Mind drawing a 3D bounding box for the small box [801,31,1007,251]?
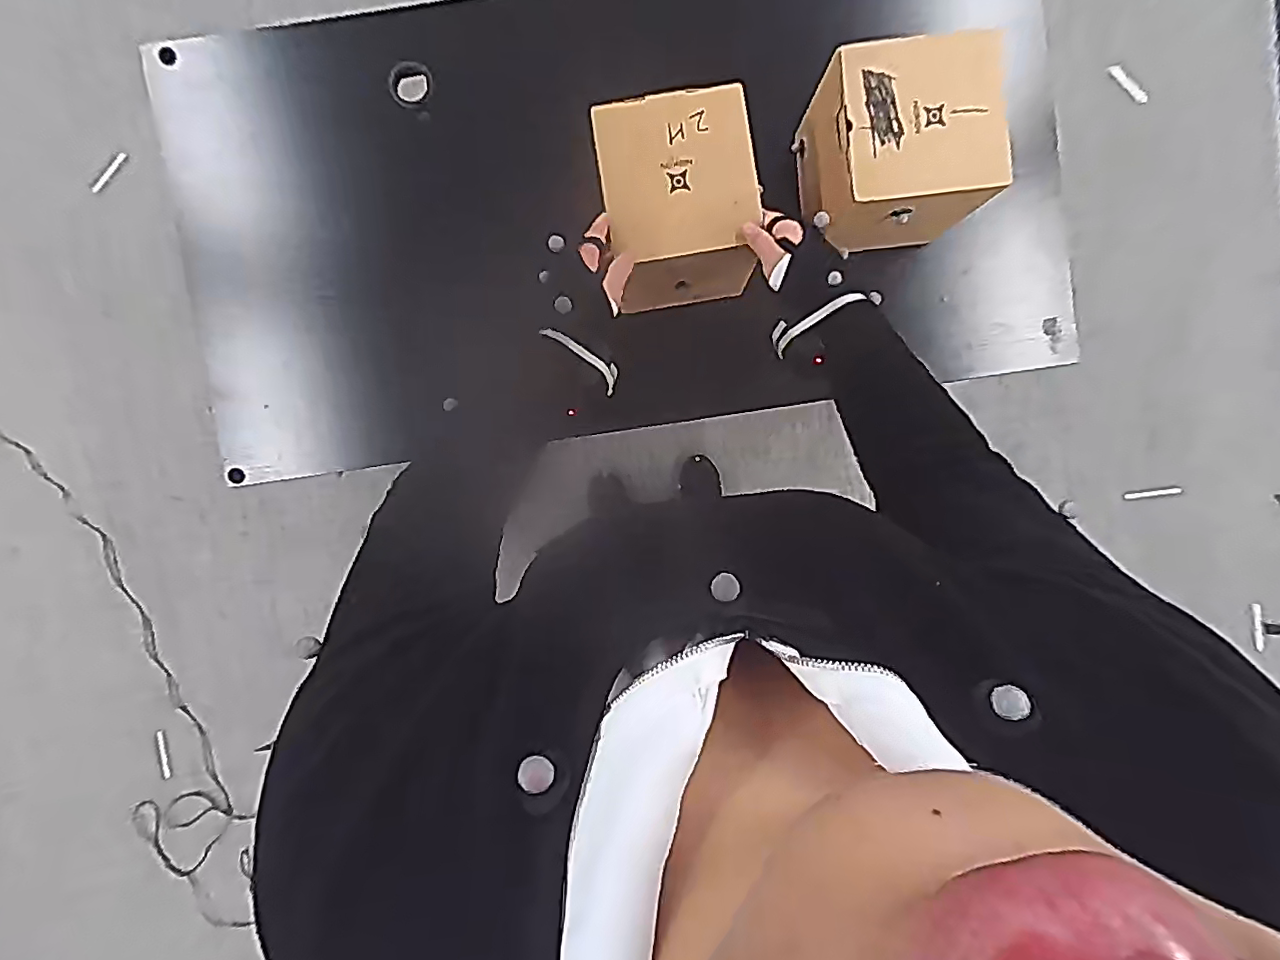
[{"bbox_3d":[0.306,-0.398,0.666,0.179,0.176,0.168,-6,93,0],"label":"small box"}]

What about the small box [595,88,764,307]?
[{"bbox_3d":[0.045,-0.326,0.664,0.168,0.176,0.179,-9,89,1],"label":"small box"}]
